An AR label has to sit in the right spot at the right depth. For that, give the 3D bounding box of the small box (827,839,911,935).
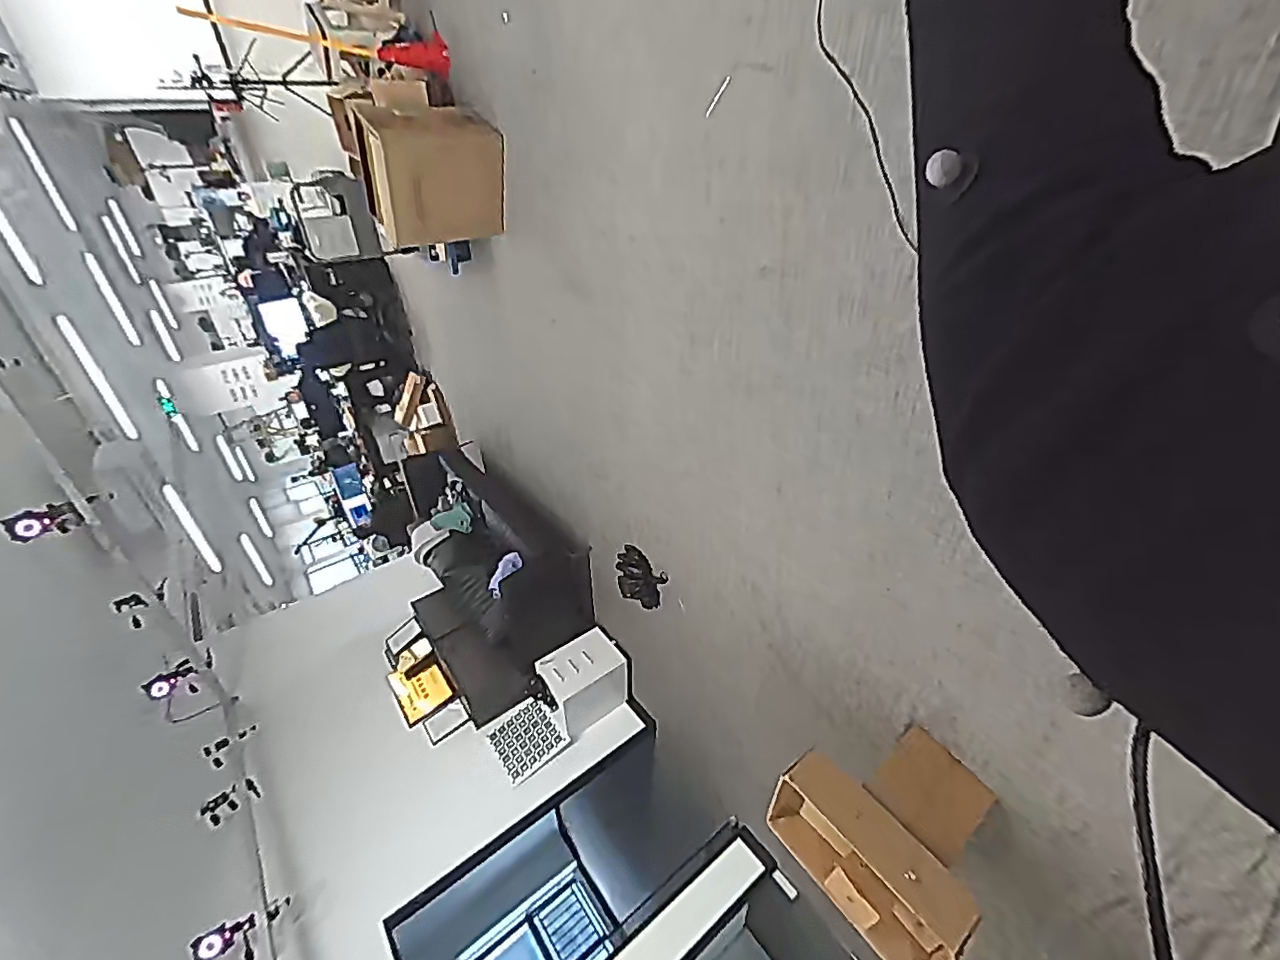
[{"bbox_3d":[0.746,1.317,1.758,0.168,0.176,0.179,42,145,39],"label":"small box"}]
